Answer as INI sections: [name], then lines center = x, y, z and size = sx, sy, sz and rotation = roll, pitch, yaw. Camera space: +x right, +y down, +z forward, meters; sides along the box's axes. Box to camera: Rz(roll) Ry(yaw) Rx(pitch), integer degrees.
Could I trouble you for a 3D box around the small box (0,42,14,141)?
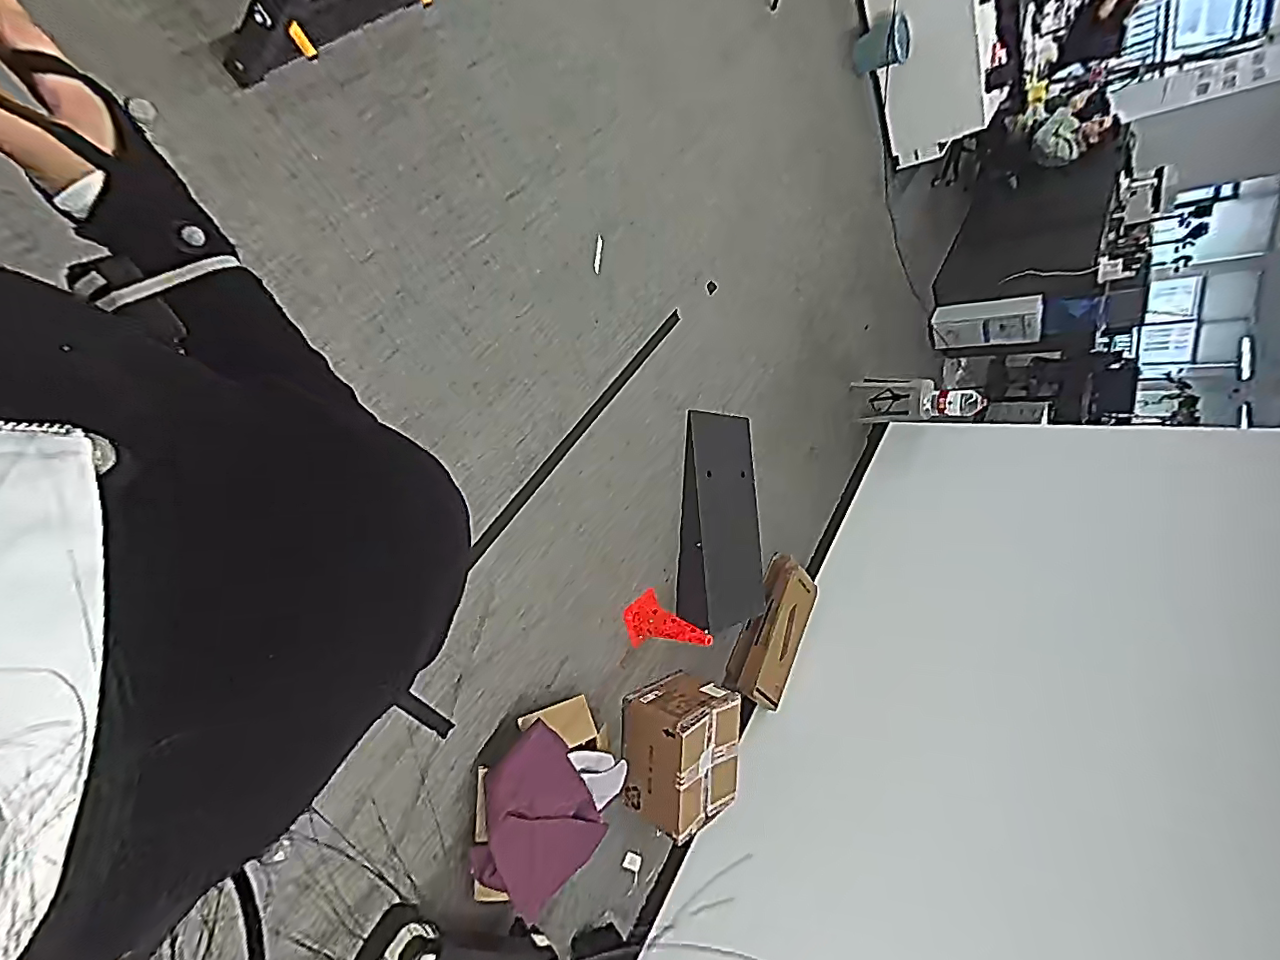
[small box]
center = -0.463, -0.300, 0.275
size = 0.168, 0.176, 0.179
rotation = -12, 115, -46
